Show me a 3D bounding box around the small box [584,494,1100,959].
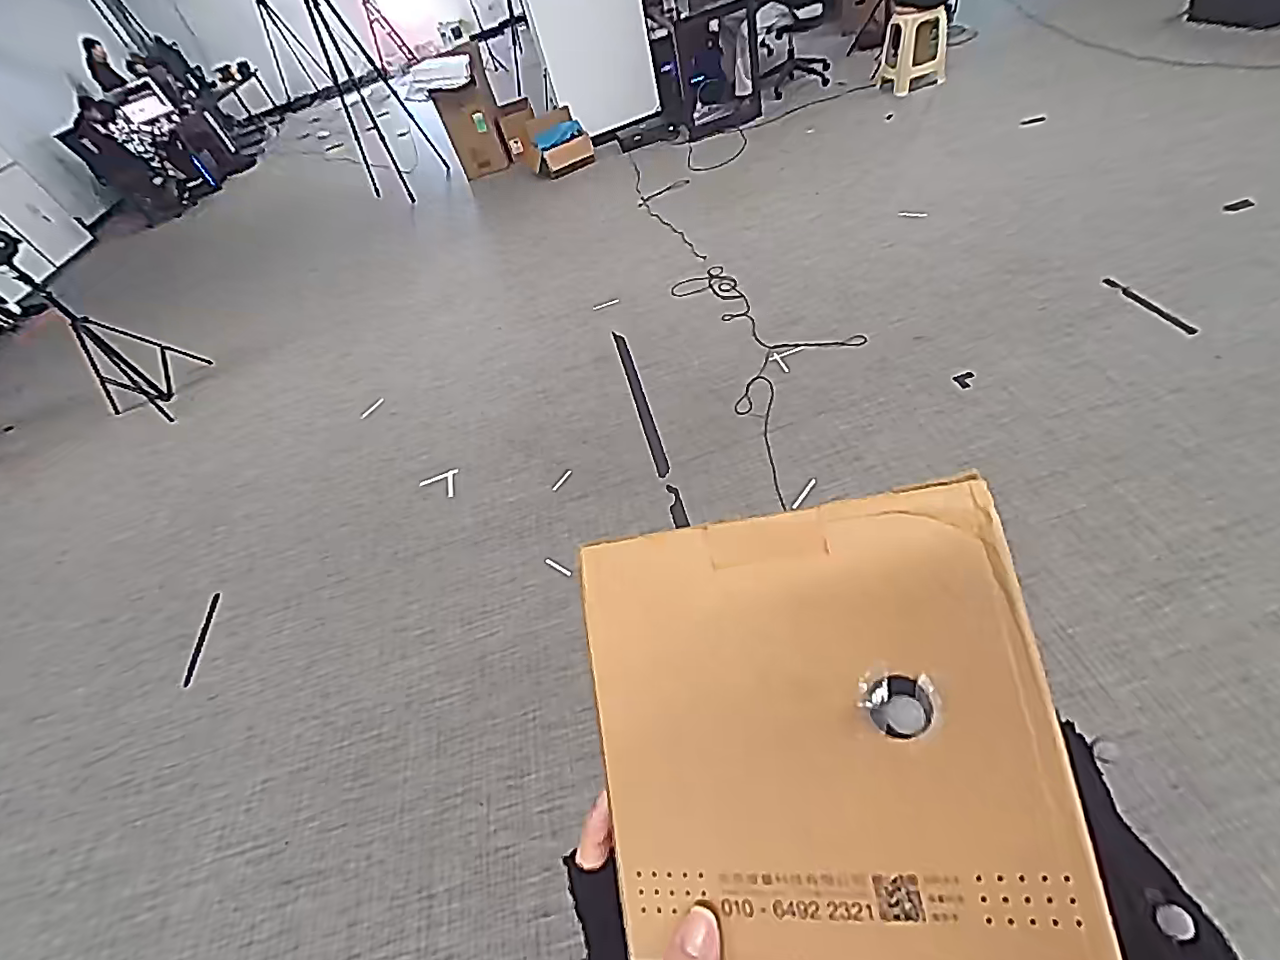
[{"bbox_3d":[0.090,0.112,0.283,0.168,0.179,0.176,-12,80,17],"label":"small box"}]
